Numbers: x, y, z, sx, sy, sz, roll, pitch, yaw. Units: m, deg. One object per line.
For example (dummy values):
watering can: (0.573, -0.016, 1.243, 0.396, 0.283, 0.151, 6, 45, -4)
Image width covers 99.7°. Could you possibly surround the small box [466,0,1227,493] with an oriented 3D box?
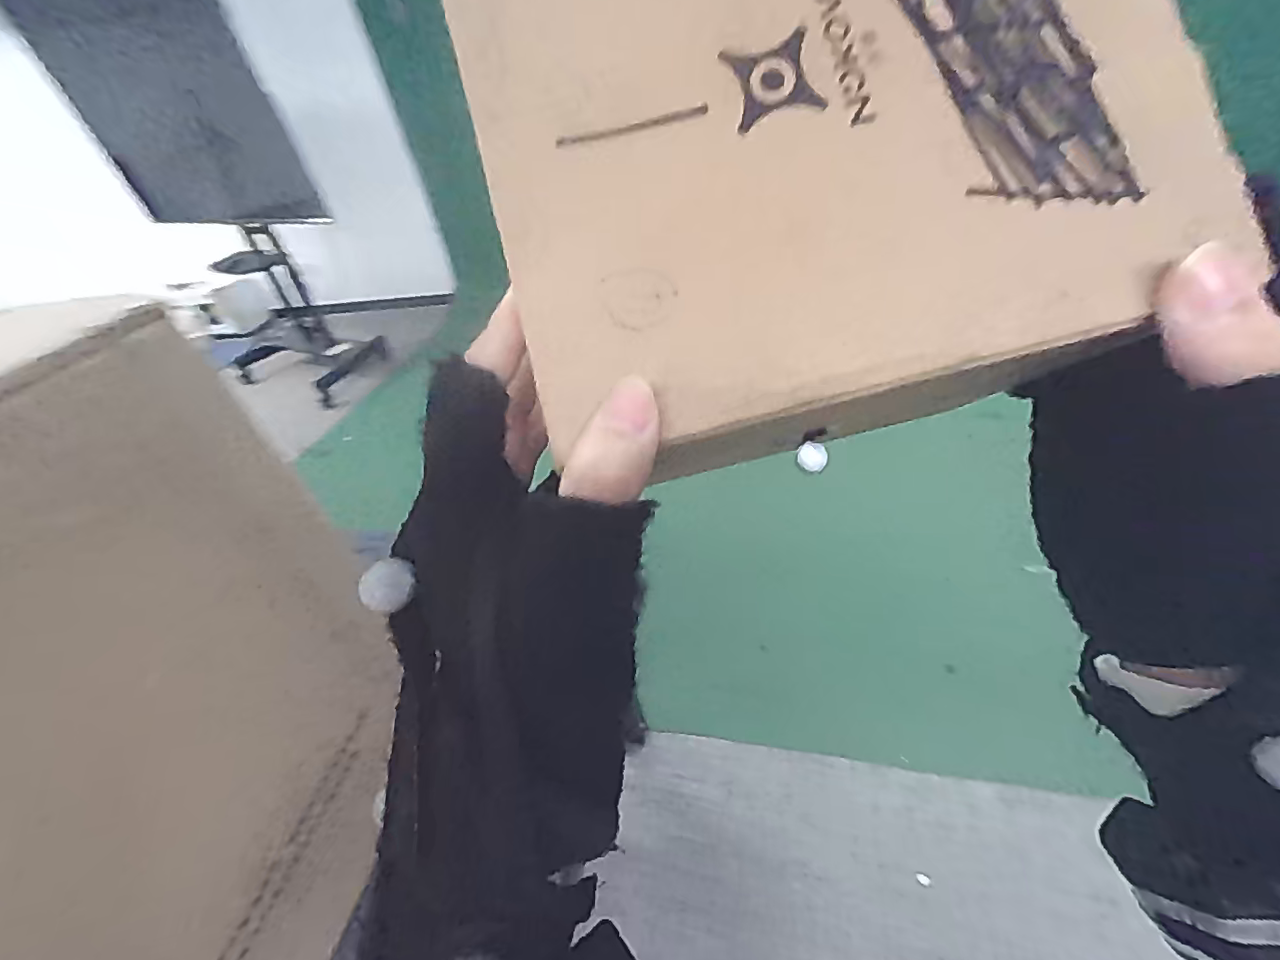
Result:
small box: (0.057, -0.093, 0.229, 0.179, 0.168, 0.176, -14, -4, 7)
